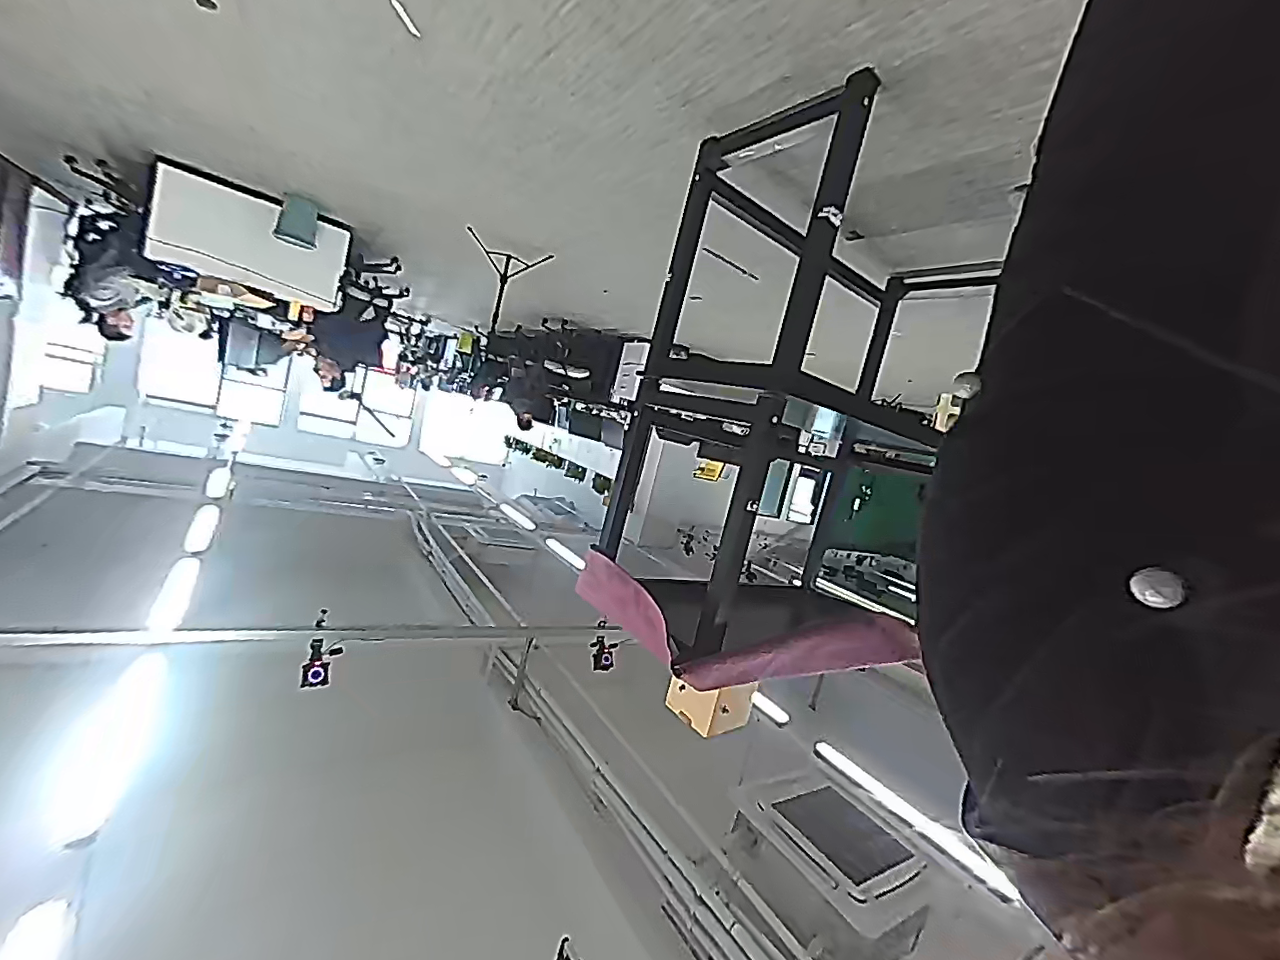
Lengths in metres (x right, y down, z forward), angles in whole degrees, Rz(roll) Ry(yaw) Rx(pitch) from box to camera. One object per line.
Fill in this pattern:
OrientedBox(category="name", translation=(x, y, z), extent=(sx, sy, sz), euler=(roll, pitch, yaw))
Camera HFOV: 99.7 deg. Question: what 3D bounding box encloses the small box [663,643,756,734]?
OrientedBox(category="small box", translation=(0.196, 0.570, 1.508), extent=(0.179, 0.176, 0.168), euler=(7, -170, -42))
